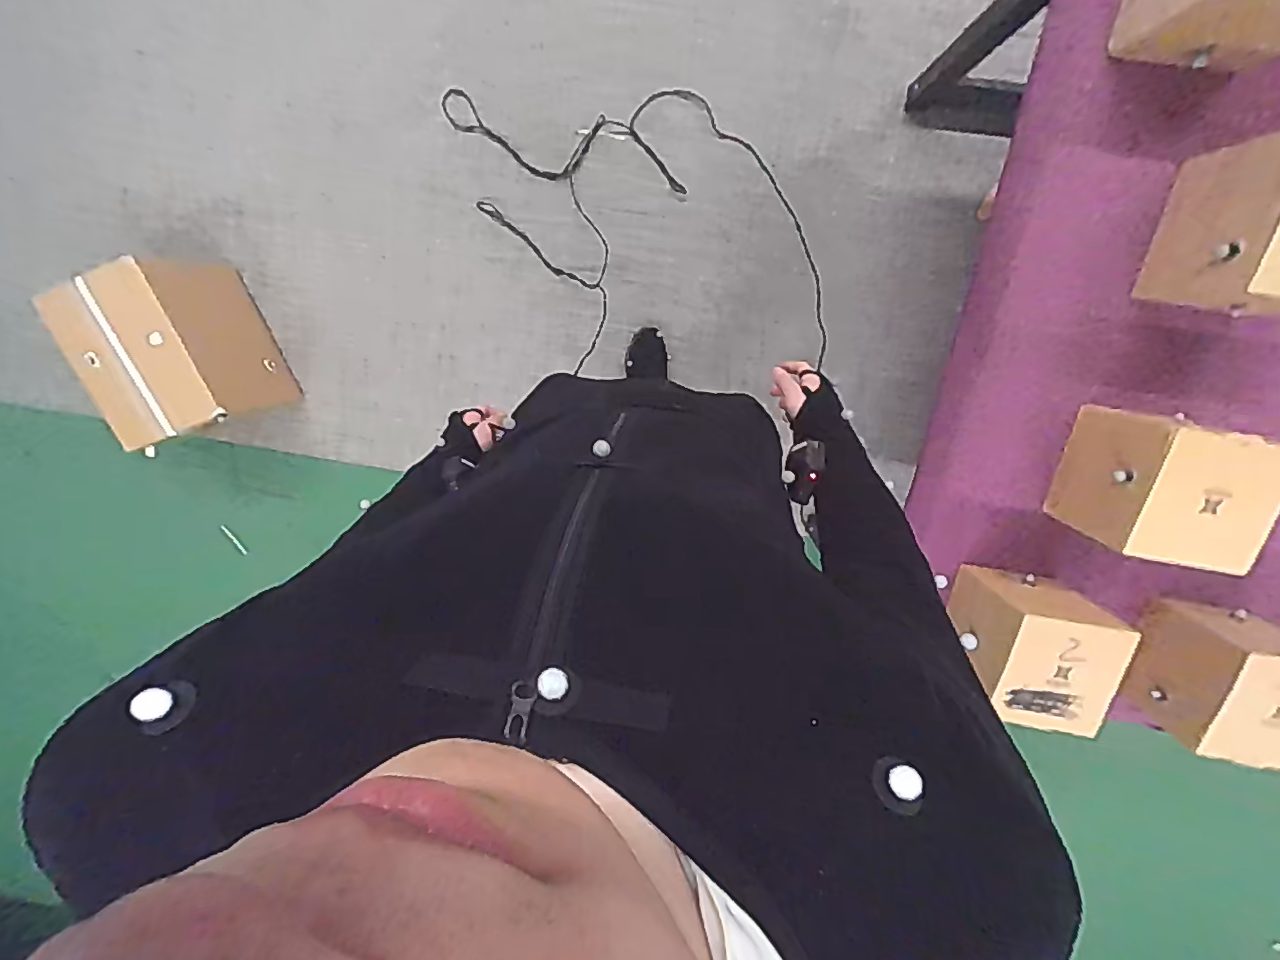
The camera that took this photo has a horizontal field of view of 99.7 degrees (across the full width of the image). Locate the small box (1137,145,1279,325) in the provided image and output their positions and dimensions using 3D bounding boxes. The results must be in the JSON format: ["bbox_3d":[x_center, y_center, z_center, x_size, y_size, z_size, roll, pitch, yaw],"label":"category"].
[{"bbox_3d":[0.781,-0.291,0.666,0.168,0.176,0.179,9,107,0],"label":"small box"}]

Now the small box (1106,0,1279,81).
[{"bbox_3d":[0.682,-0.568,0.589,0.179,0.176,0.168,7,106,0],"label":"small box"}]

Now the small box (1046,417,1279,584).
[{"bbox_3d":[0.726,0.020,0.763,0.168,0.176,0.179,10,105,1],"label":"small box"}]

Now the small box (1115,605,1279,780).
[{"bbox_3d":[0.899,0.322,0.837,0.168,0.176,0.179,11,105,2],"label":"small box"}]
